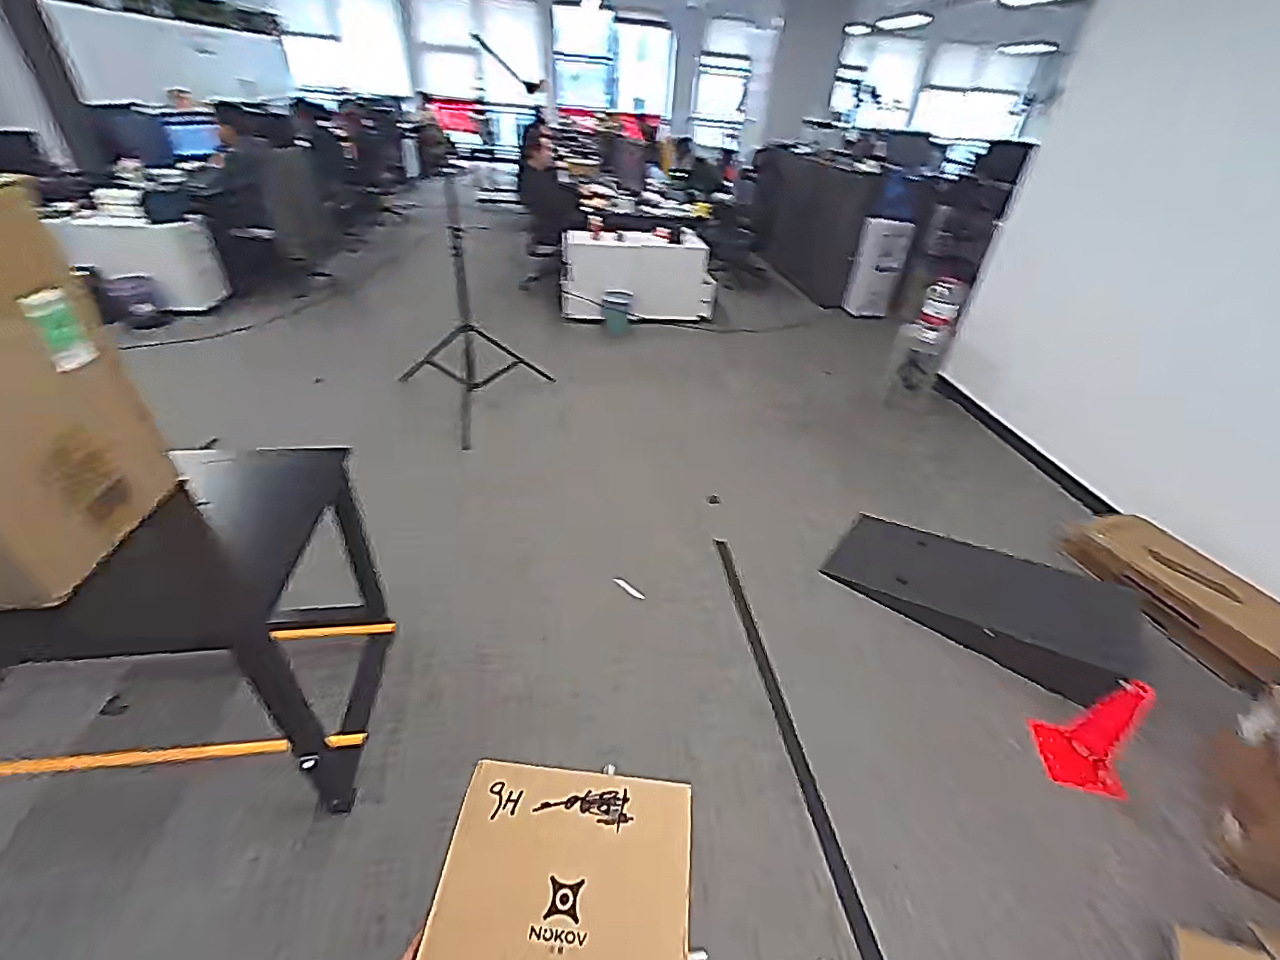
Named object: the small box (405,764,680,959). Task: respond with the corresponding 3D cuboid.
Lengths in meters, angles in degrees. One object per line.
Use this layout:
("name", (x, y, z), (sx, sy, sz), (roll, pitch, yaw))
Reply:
("small box", (-0.060, 0.337, 0.396), (0.168, 0.176, 0.179), (4, 43, 2))
